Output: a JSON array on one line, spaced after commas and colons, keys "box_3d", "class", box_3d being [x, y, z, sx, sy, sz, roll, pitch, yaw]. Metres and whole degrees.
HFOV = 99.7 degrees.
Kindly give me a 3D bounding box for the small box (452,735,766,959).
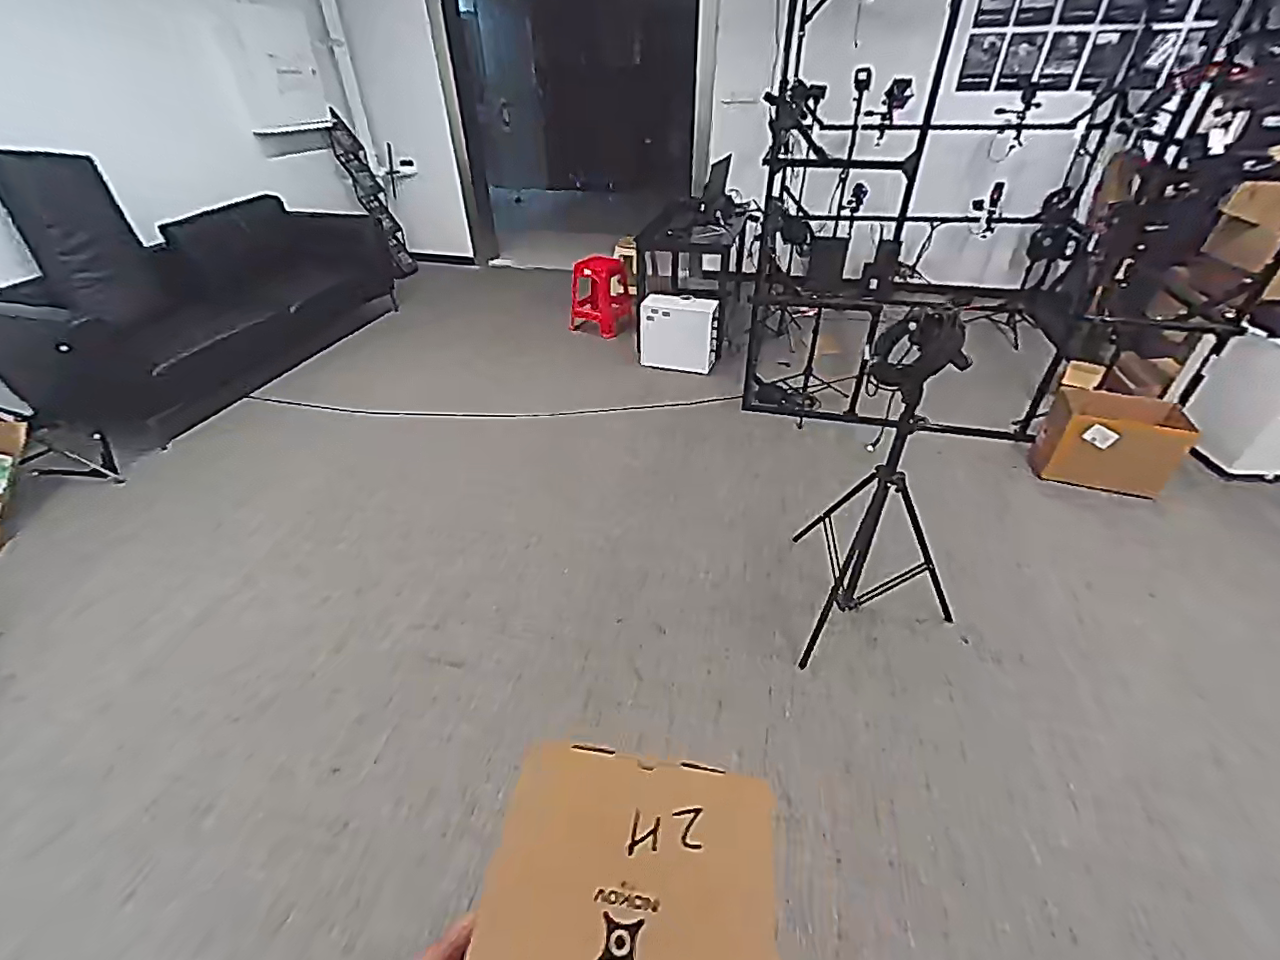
[{"box_3d": [-0.014, 0.296, 0.352, 0.168, 0.176, 0.179, 7, 46, 5], "class": "small box"}]
